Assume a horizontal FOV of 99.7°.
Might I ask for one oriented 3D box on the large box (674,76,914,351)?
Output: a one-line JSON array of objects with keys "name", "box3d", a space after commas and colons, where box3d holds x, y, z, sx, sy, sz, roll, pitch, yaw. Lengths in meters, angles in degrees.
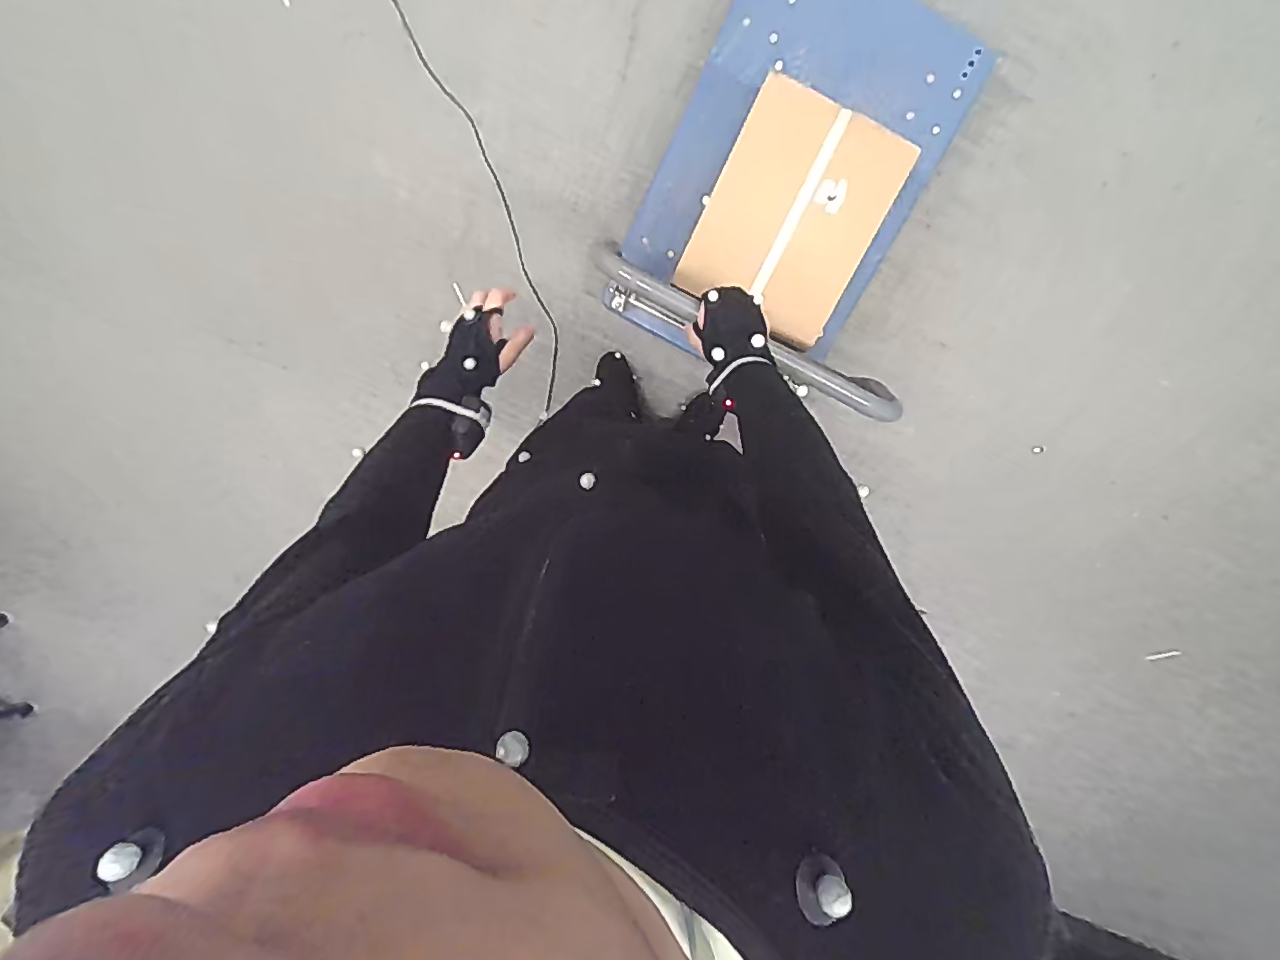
[{"name": "large box", "box3d": [0.291, -0.525, 1.169, 0.320, 0.320, 0.408, 26, 104, -4]}]
